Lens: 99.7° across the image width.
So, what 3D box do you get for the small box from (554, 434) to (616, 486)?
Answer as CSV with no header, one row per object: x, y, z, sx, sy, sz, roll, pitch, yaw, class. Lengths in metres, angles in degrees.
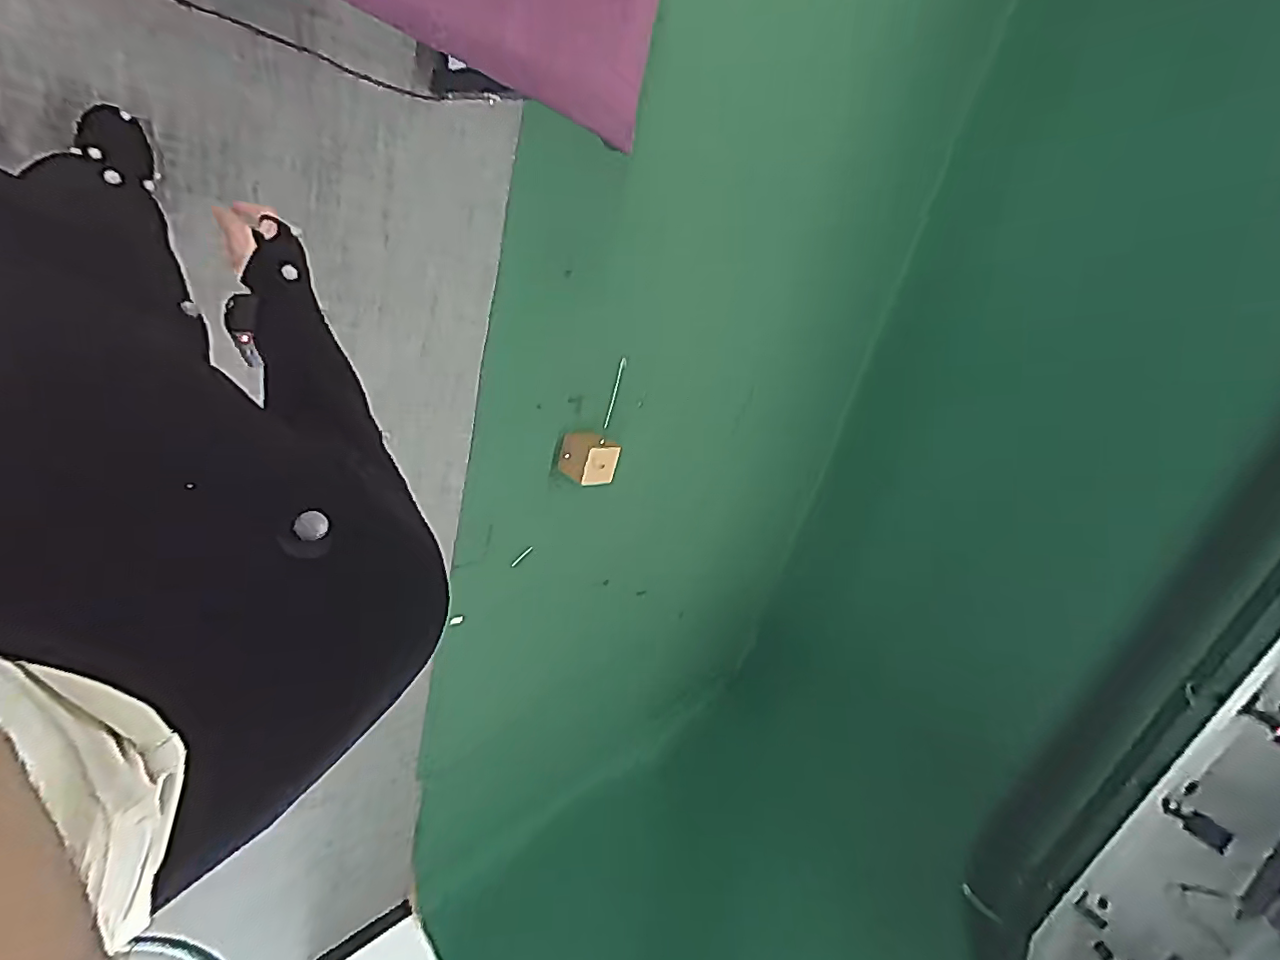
-0.233,-0.088,2.280,0.179,0.176,0.168,-5,118,-48,small box
